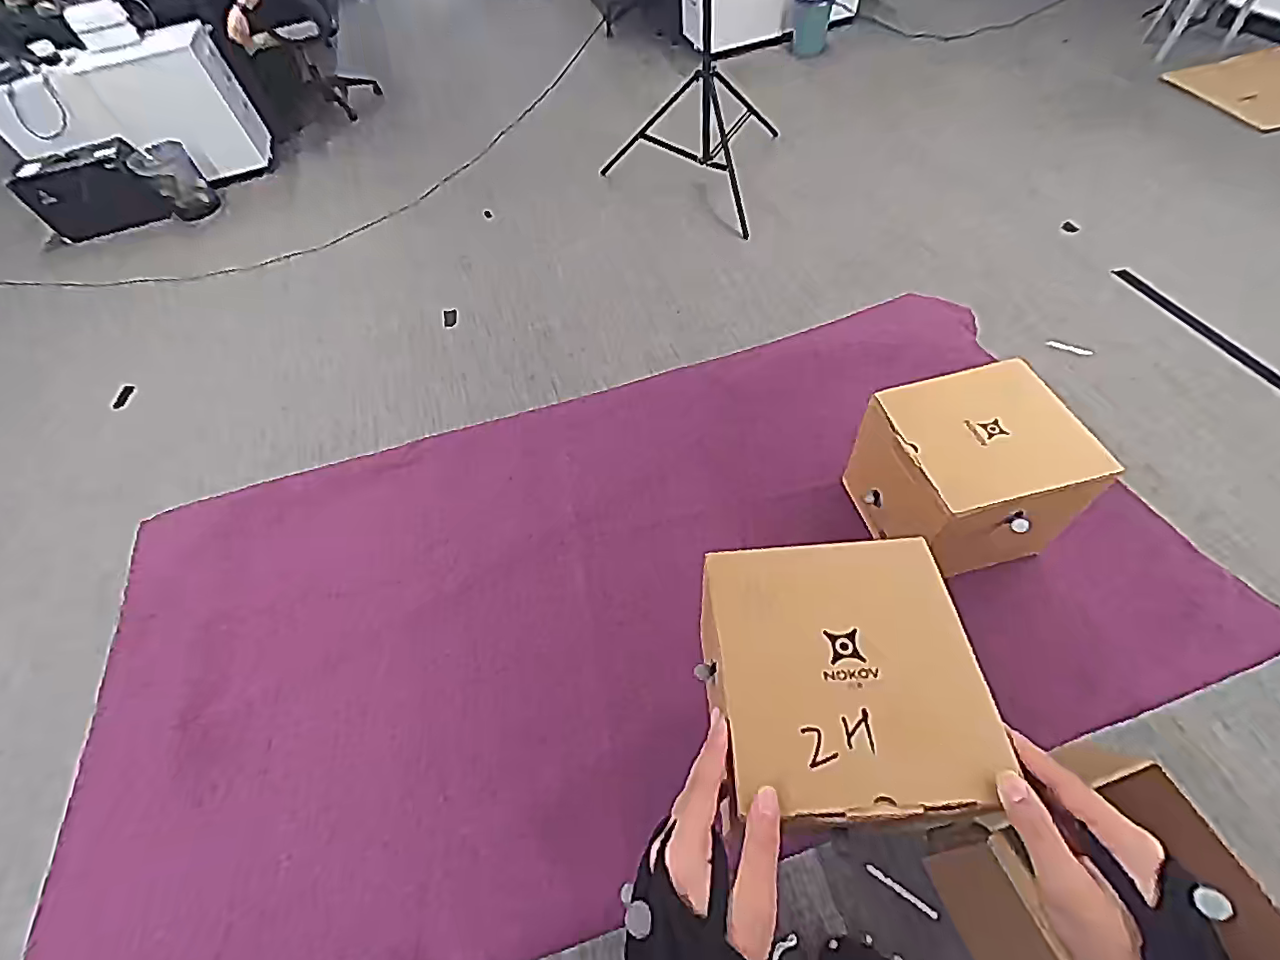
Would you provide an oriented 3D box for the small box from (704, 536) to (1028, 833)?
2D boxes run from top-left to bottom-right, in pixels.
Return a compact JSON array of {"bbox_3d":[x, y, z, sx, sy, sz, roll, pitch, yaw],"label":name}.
[{"bbox_3d":[0.142,0.163,0.422,0.168,0.176,0.179,-5,54,2],"label":"small box"}]

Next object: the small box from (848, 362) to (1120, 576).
[{"bbox_3d":[0.366,-0.003,0.620,0.179,0.176,0.168,-14,54,-1],"label":"small box"}]
